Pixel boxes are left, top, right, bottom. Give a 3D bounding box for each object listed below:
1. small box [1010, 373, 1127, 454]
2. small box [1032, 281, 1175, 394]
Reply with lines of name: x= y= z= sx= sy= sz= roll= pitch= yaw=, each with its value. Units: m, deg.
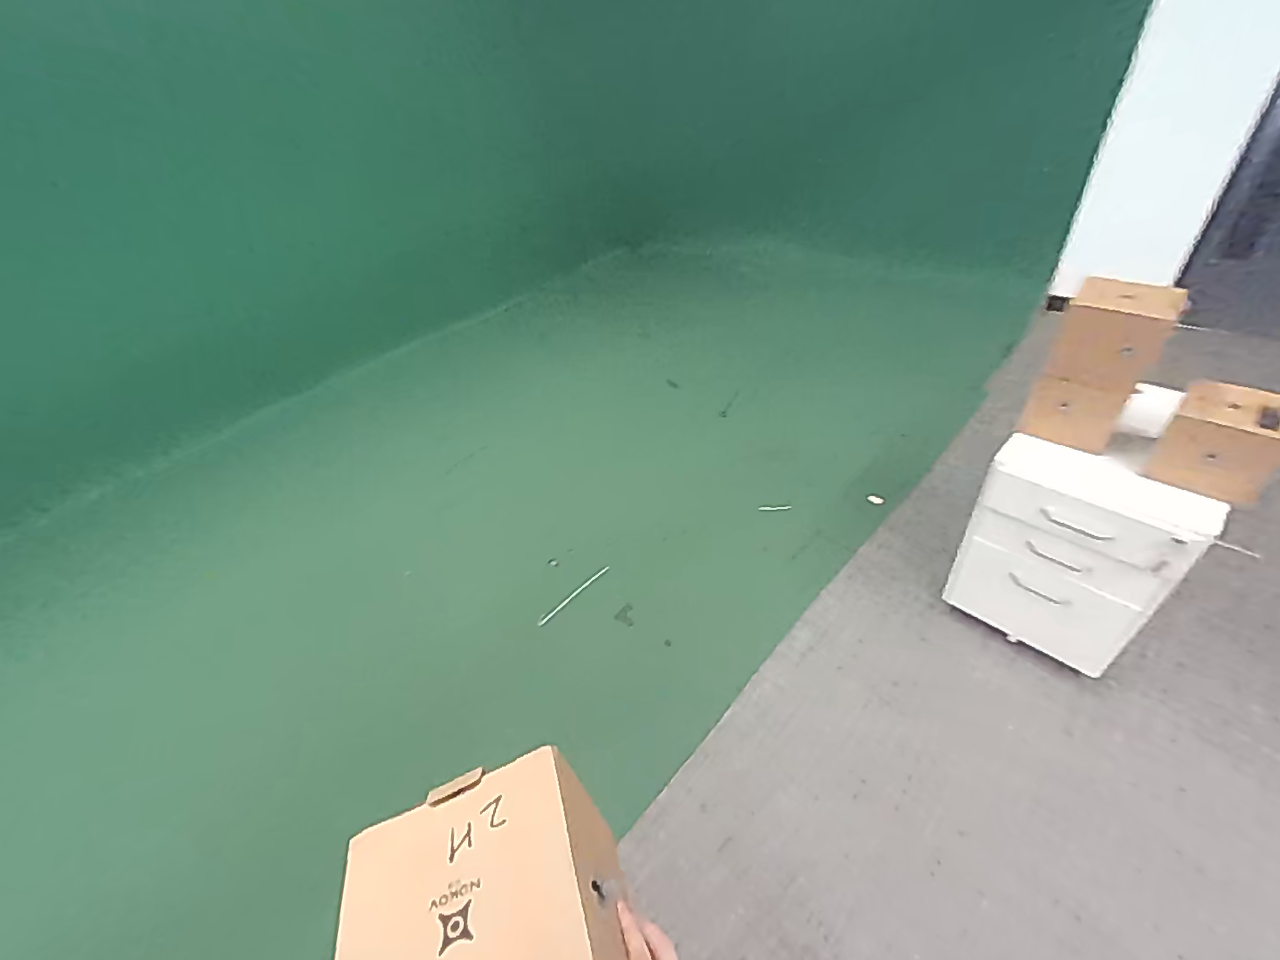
small box: x=1.019 y=-0.186 z=1.283 sx=0.179 sy=0.176 sz=0.168 roll=27 pitch=53 yaw=34
small box: x=1.001 y=-0.308 z=1.176 sx=0.179 sy=0.176 sz=0.168 roll=25 pitch=51 yaw=33
